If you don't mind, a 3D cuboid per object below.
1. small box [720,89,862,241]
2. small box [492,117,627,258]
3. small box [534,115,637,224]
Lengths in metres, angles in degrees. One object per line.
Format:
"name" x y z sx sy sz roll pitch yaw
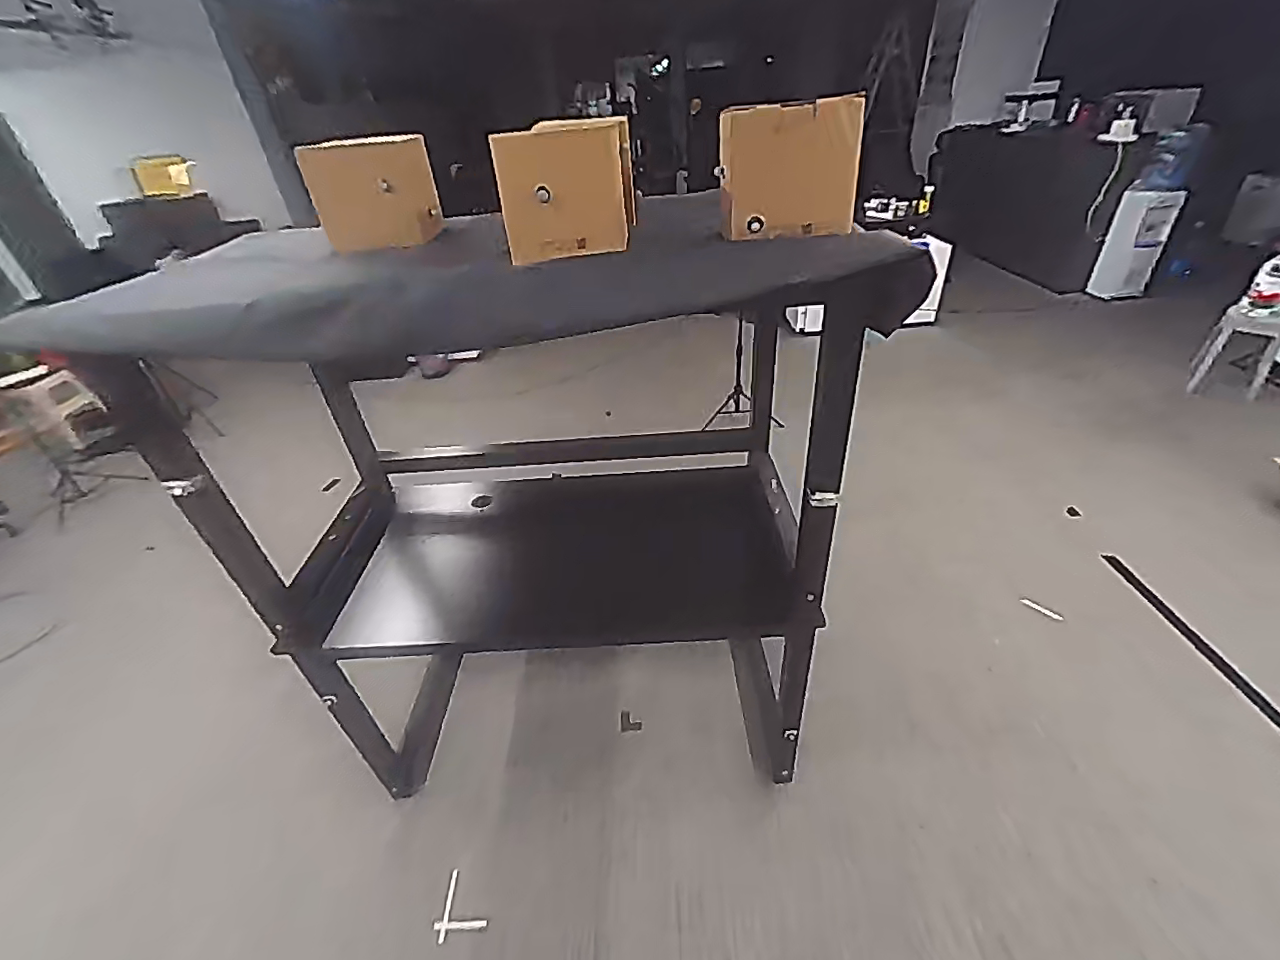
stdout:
"small box" 0.206 -0.448 0.783 0.168 0.176 0.179 -3 31 4
"small box" -0.108 -0.439 0.819 0.168 0.176 0.179 -4 33 2
"small box" -0.096 -0.585 1.027 0.168 0.176 0.179 -4 34 2
